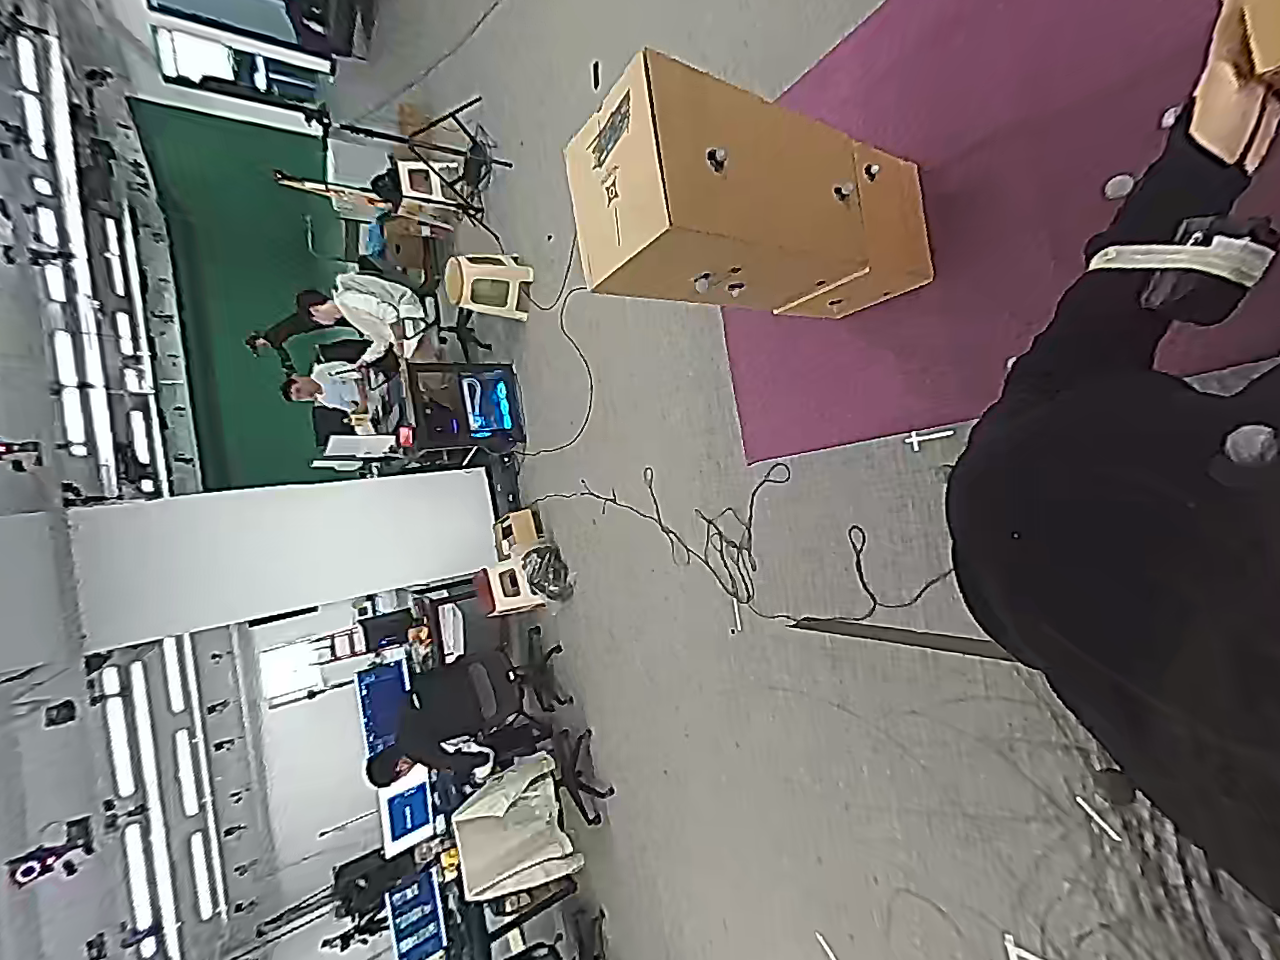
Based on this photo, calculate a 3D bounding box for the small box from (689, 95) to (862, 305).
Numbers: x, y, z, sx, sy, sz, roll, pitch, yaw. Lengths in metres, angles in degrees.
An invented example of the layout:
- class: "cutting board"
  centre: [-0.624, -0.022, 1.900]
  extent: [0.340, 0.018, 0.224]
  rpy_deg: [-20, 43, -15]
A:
- class: "small box"
  centre: [0.165, -0.347, 0.711]
  extent: [0.168, 0.176, 0.179]
  rpy_deg: [-10, 87, 56]

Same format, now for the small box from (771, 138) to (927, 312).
- class: "small box"
  centre: [0.300, -0.360, 0.804]
  extent: [0.168, 0.176, 0.179]
  rpy_deg: [-9, 89, 56]

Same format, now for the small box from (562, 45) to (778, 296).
- class: "small box"
  centre: [0.033, -0.326, 0.615]
  extent: [0.168, 0.176, 0.179]
  rpy_deg: [-9, 90, 56]
